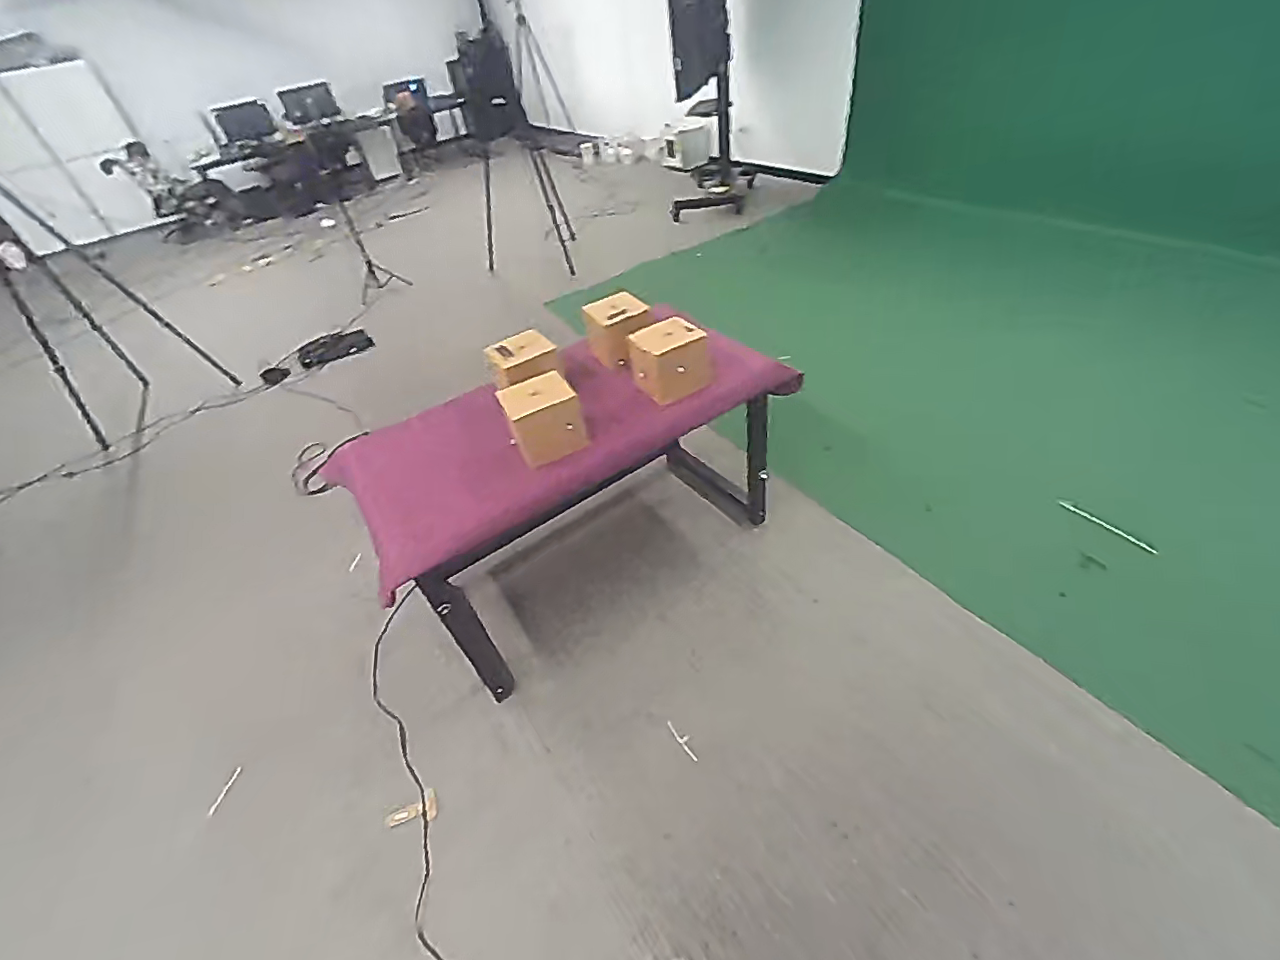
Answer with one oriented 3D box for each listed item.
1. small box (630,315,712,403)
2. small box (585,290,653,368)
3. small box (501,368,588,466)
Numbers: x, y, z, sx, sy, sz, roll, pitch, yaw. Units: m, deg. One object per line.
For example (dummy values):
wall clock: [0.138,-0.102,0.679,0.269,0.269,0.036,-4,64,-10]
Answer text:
small box: [0.096,-0.350,1.576,0.179,0.176,0.168,-26,44,-15]
small box: [-0.058,-0.485,1.754,0.168,0.176,0.179,-25,44,-15]
small box: [-0.250,-0.168,1.453,0.179,0.176,0.168,-24,43,-13]
